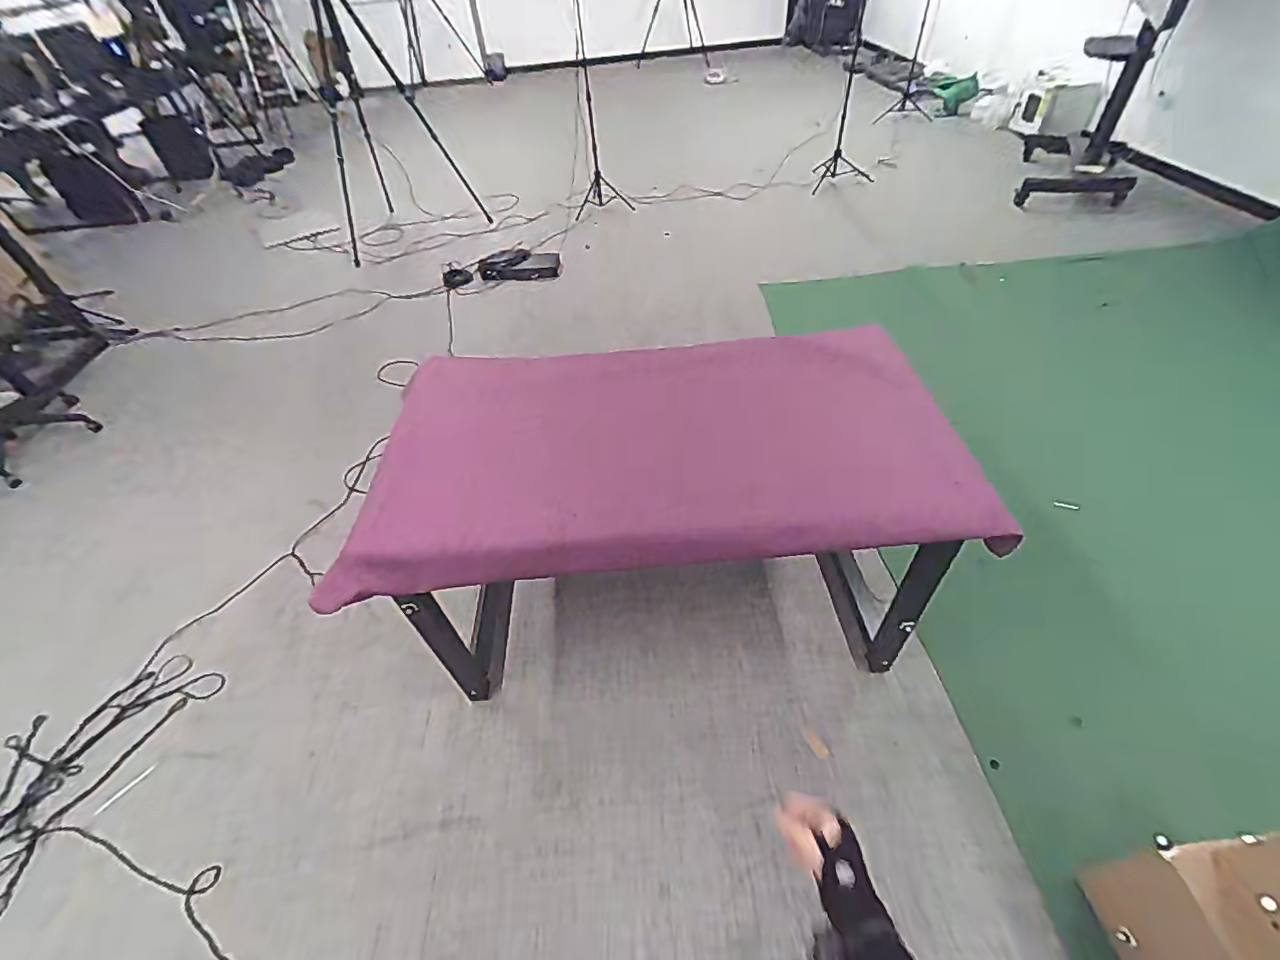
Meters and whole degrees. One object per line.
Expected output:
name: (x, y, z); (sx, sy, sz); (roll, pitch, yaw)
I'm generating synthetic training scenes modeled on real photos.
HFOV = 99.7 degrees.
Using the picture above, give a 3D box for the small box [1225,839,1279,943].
small box: (1.084, 0.638, 0.822); (0.179, 0.176, 0.168); (-9, 46, -2)
